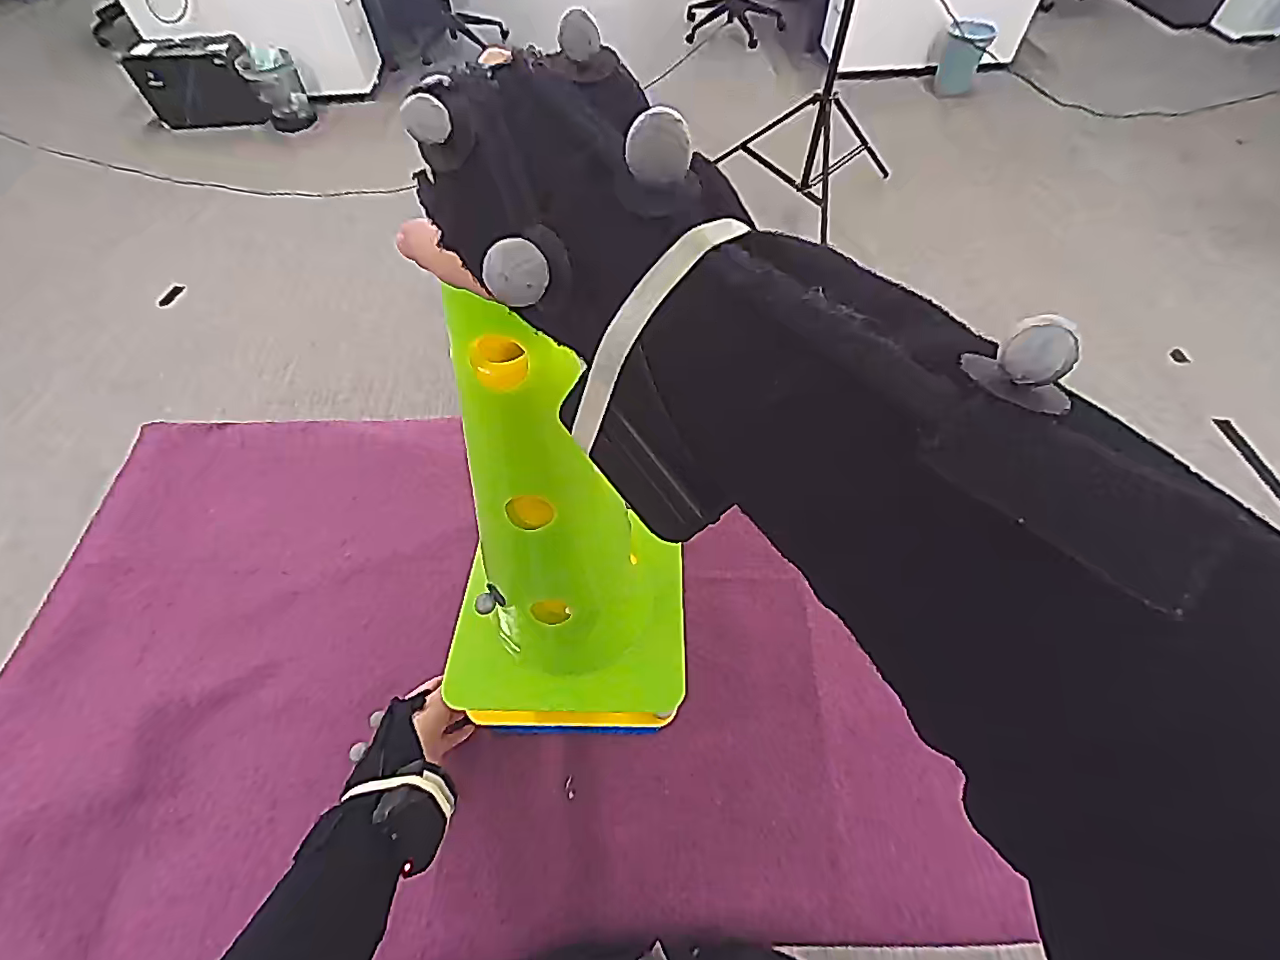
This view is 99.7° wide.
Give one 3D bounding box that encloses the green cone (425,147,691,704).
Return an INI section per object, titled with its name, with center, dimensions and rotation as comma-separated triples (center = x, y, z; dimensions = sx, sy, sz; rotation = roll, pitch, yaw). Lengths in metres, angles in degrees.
[green cone]
center = -0.063, -0.012, 0.354
dimensions = 0.200, 0.368, 0.202
rotation = -1, 50, 2
